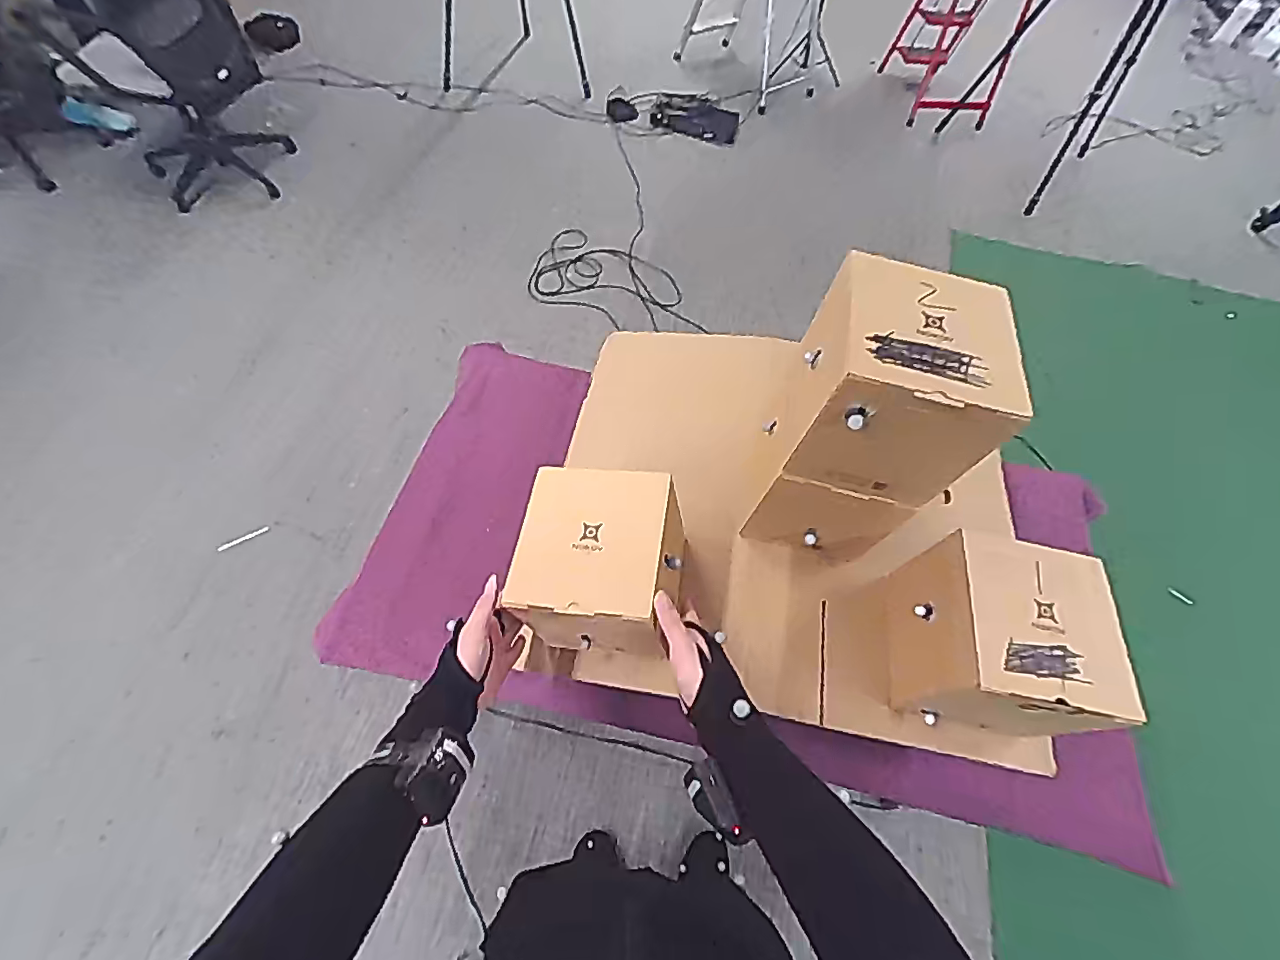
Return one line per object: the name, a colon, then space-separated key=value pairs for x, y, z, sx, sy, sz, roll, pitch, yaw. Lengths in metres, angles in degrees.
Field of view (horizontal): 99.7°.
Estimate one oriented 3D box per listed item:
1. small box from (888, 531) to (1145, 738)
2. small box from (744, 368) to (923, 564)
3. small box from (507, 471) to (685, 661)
small box: x=0.409 y=0.186 z=0.626 sx=0.168 sy=0.176 sz=0.179 roll=13 pitch=59 yaw=-1
small box: x=0.244 y=-0.013 z=0.714 sx=0.168 sy=0.176 sz=0.179 roll=13 pitch=59 yaw=0
small box: x=-0.038 y=0.108 z=0.663 sx=0.168 sy=0.176 sz=0.179 roll=3 pitch=61 yaw=12
